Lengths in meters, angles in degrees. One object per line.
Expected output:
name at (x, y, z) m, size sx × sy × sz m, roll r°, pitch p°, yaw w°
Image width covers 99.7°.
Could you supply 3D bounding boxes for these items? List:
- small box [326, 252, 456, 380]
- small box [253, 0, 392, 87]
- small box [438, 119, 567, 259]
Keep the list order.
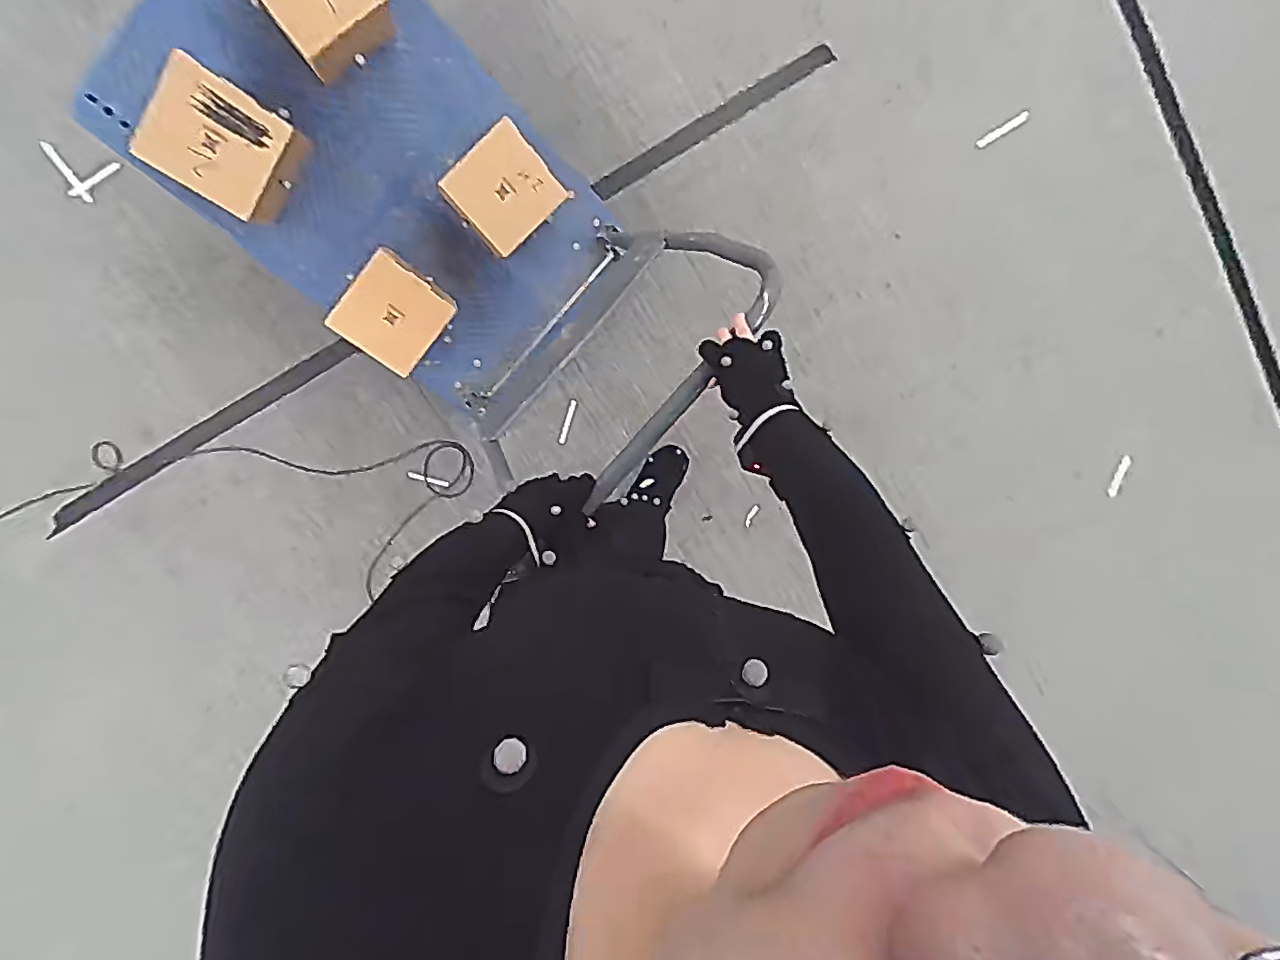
small box at (-0.490, -0.330, 1.089) m, size 0.168 × 0.176 × 0.179 m, roll 36°, pitch 94°, yaw -28°
small box at (-0.534, -0.794, 0.882) m, size 0.168 × 0.176 × 0.179 m, roll -39°, pitch 120°, yaw -1°
small box at (-0.273, -0.562, 1.070) m, size 0.179 × 0.176 × 0.168 m, roll -44°, pitch 119°, yaw 2°
